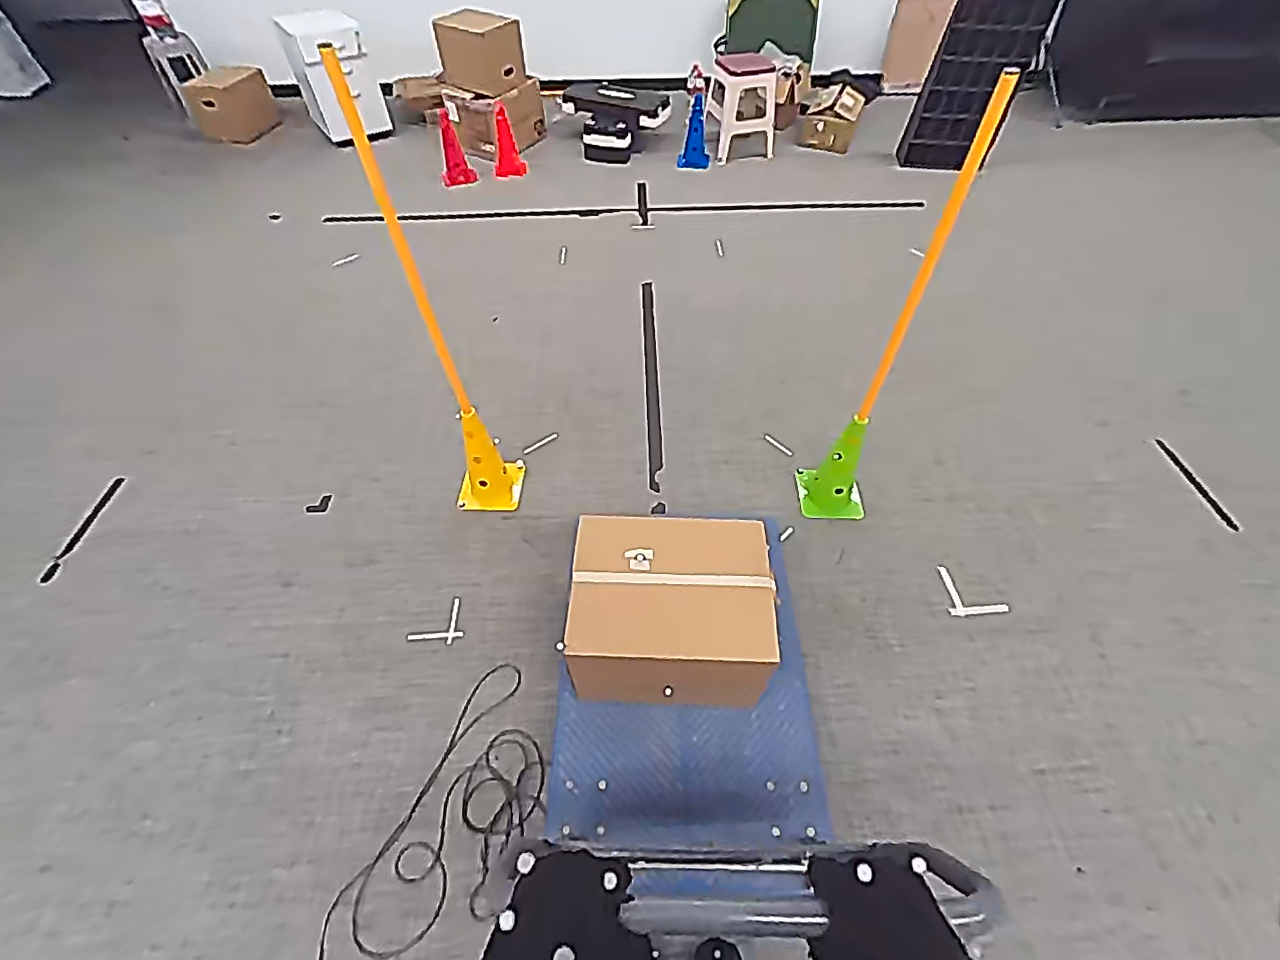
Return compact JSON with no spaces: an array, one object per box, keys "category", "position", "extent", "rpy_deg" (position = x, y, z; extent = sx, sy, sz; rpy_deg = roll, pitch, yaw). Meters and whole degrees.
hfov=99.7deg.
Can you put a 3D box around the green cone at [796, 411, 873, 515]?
[{"category":"green cone","position":[0.636,-0.071,1.680],"extent":[0.202,0.368,0.200],"rpy_deg":[2,52,0]}]

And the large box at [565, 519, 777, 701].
[{"category":"large box","position":[0.066,0.298,1.213],"extent":[0.408,0.320,0.320],"rpy_deg":[1,52,2]}]
